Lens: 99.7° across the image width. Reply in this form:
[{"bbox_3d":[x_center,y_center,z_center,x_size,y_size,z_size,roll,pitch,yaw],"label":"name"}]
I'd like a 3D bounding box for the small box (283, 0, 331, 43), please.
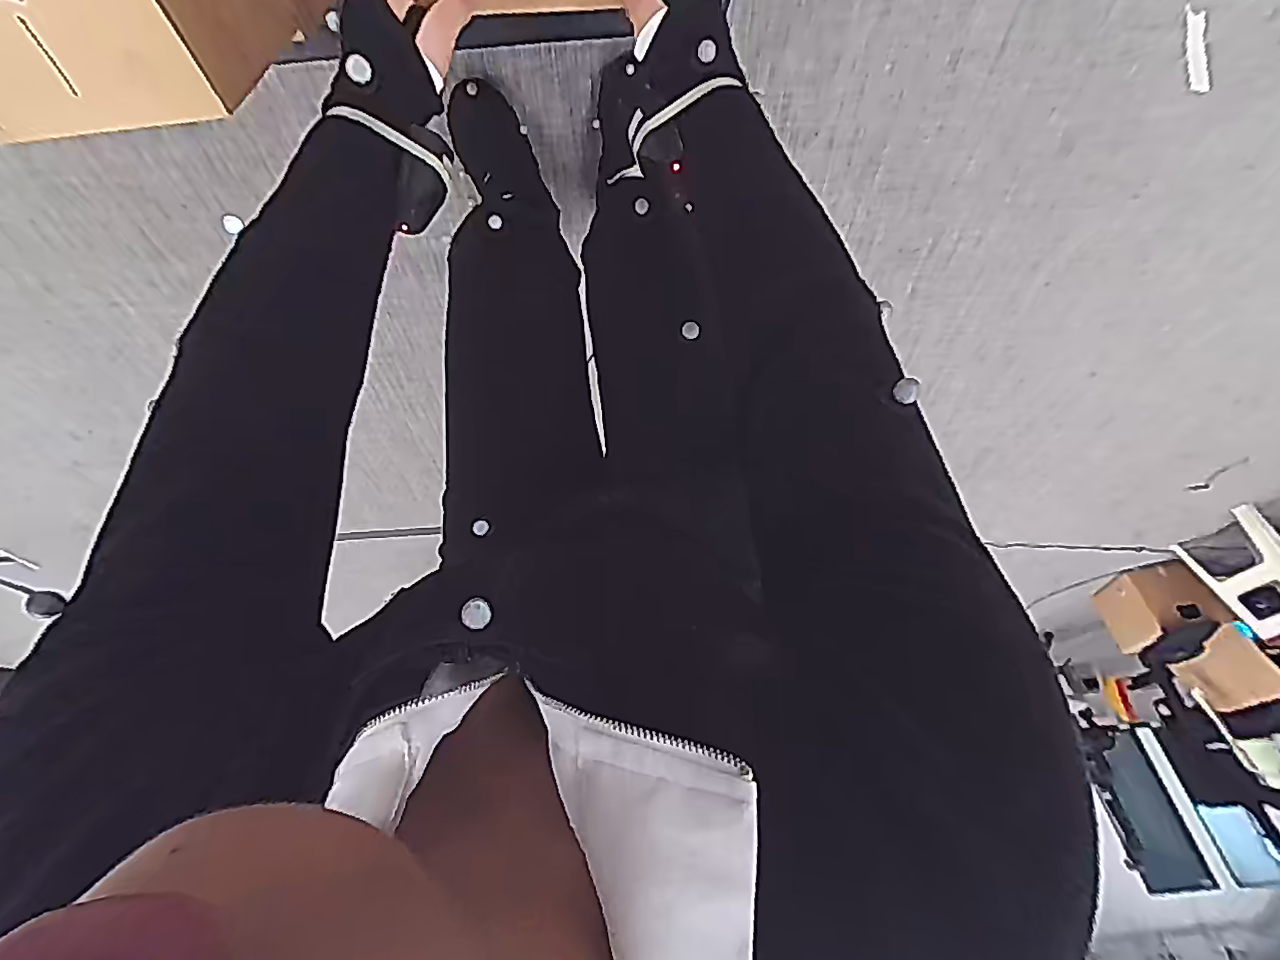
[{"bbox_3d":[-0.371,-0.476,0.427,0.168,0.176,0.179,-5,146,-1],"label":"small box"}]

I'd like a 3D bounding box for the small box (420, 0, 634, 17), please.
[{"bbox_3d":[-0.095,-0.497,0.424,0.179,0.176,0.168,-2,145,0],"label":"small box"}]

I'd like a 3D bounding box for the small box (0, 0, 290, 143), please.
[{"bbox_3d":[-0.360,-0.344,0.330,0.168,0.176,0.179,-6,146,0],"label":"small box"}]

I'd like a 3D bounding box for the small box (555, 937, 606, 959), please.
[{"bbox_3d":[-0.218,1.840,2.026,0.179,0.176,0.168,-6,148,2],"label":"small box"}]

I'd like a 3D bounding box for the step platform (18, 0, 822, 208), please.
[{"bbox_3d":[-0.203,-0.435,0.450,0.684,0.204,0.286,-6,145,-1],"label":"step platform"}]
